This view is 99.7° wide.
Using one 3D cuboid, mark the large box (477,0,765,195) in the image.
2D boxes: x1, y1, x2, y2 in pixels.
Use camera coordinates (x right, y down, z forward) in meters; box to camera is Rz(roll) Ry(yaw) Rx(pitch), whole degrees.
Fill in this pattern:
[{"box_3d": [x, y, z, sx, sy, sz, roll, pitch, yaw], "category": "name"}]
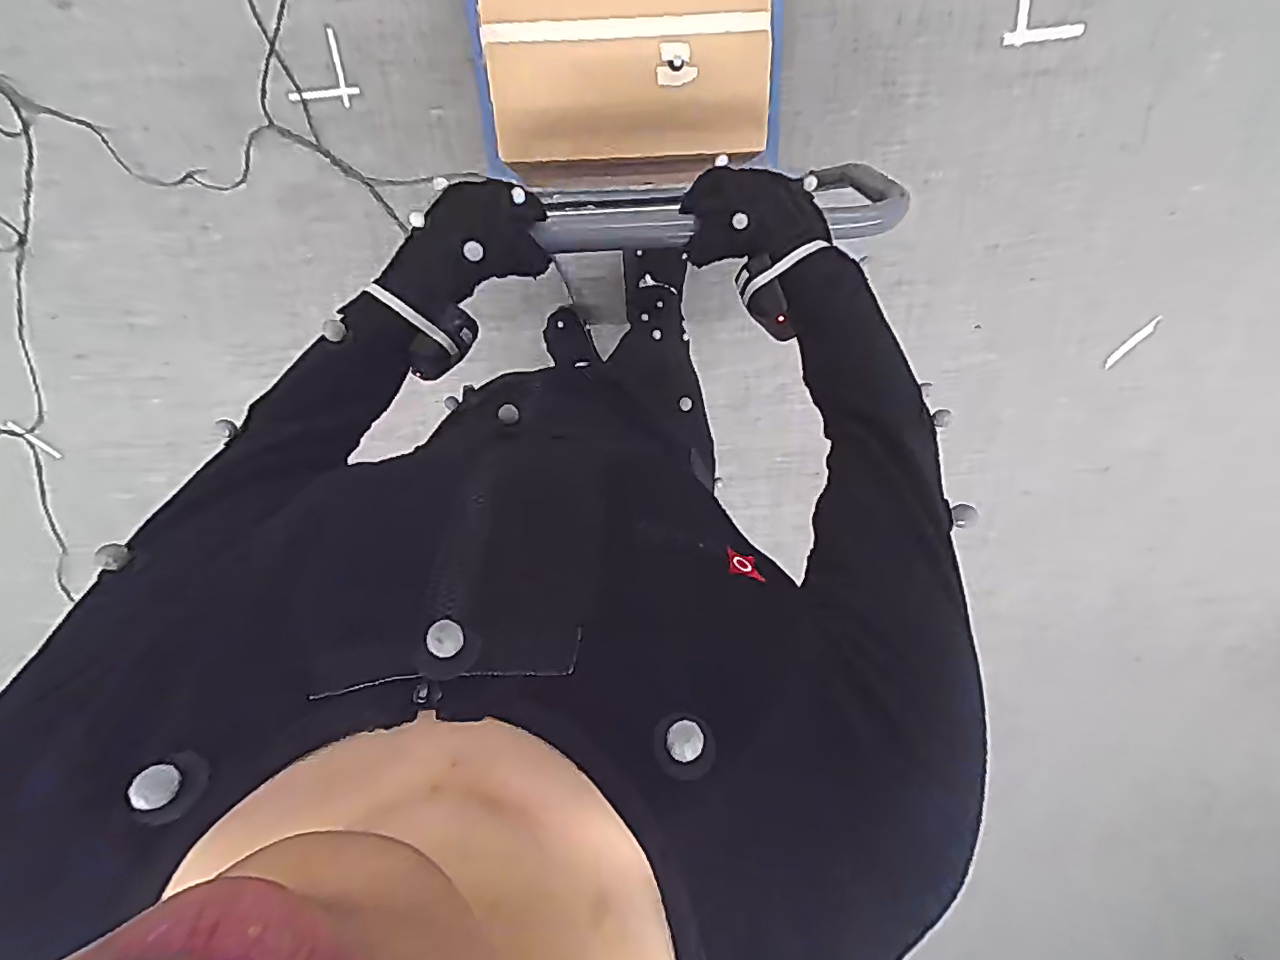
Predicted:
[{"box_3d": [-0.032, -0.673, 0.893, 0.408, 0.320, 0.320, -4, 113, -2], "category": "large box"}]
